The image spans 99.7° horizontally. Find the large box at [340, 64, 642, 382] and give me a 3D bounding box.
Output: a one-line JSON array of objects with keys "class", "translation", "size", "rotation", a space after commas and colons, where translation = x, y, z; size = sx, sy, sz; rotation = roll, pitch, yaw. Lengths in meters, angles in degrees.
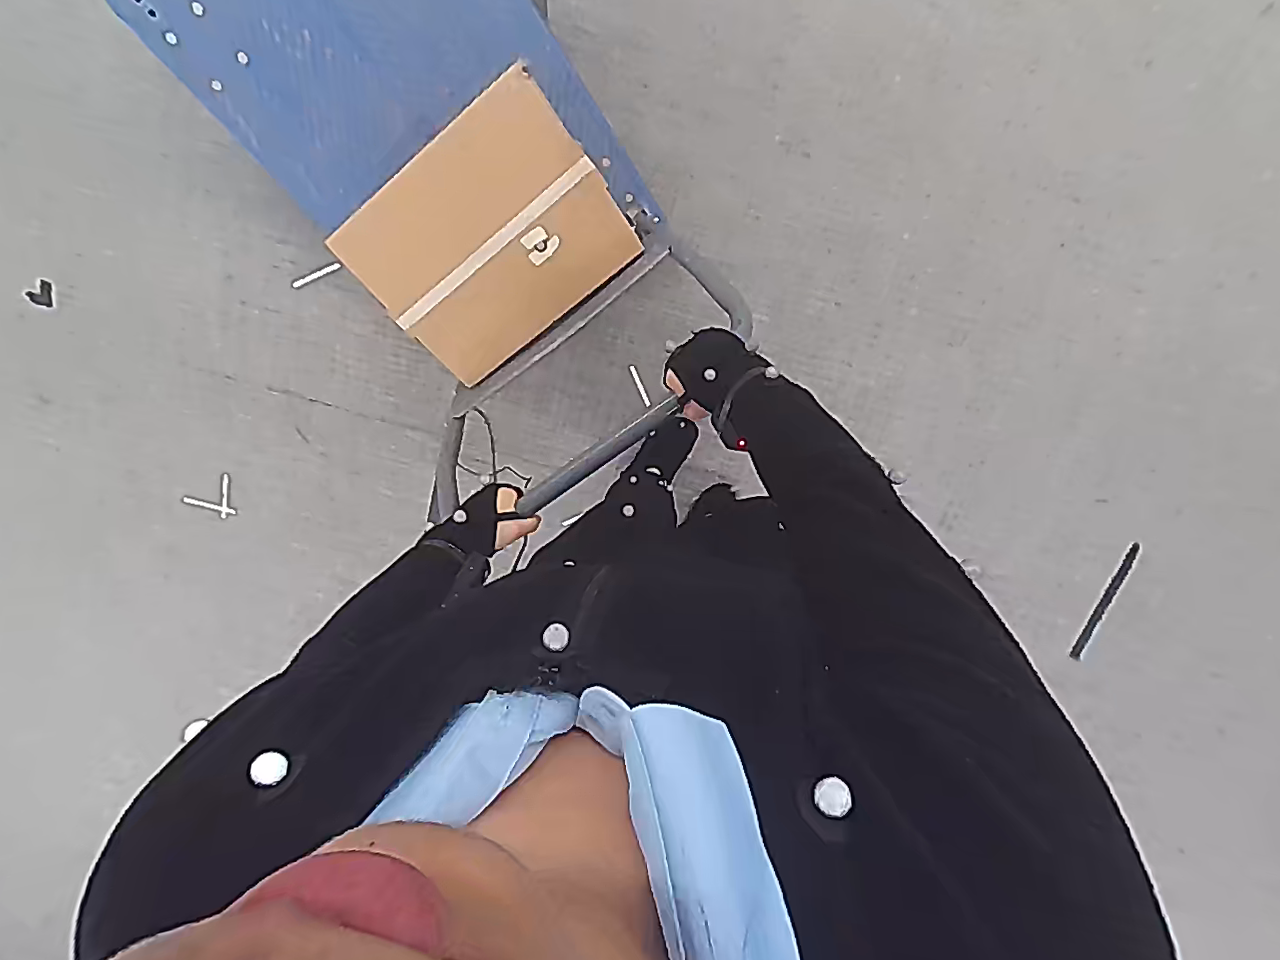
[{"class": "large box", "translation": [-0.261, -0.463, 1.020], "size": [0.408, 0.320, 0.320], "rotation": [-36, 120, 11]}]
